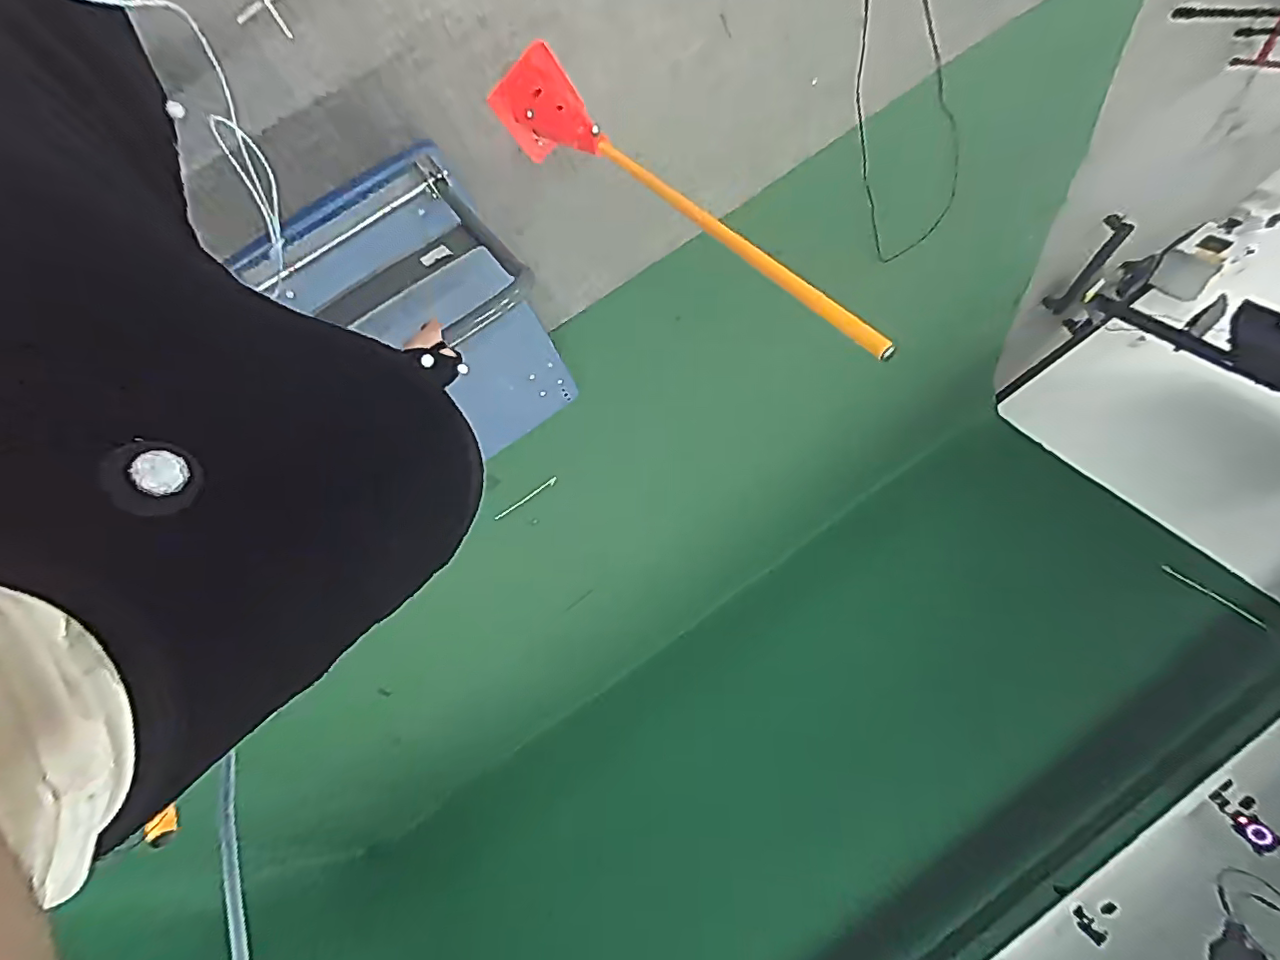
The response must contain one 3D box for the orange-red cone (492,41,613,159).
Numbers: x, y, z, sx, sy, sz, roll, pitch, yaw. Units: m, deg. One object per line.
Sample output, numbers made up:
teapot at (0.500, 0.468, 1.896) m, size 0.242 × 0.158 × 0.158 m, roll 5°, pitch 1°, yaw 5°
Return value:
orange-red cone at (-0.165, -0.845, 1.275) m, size 0.199 × 0.360 × 0.198 m, roll -44°, pitch 146°, yaw 7°
